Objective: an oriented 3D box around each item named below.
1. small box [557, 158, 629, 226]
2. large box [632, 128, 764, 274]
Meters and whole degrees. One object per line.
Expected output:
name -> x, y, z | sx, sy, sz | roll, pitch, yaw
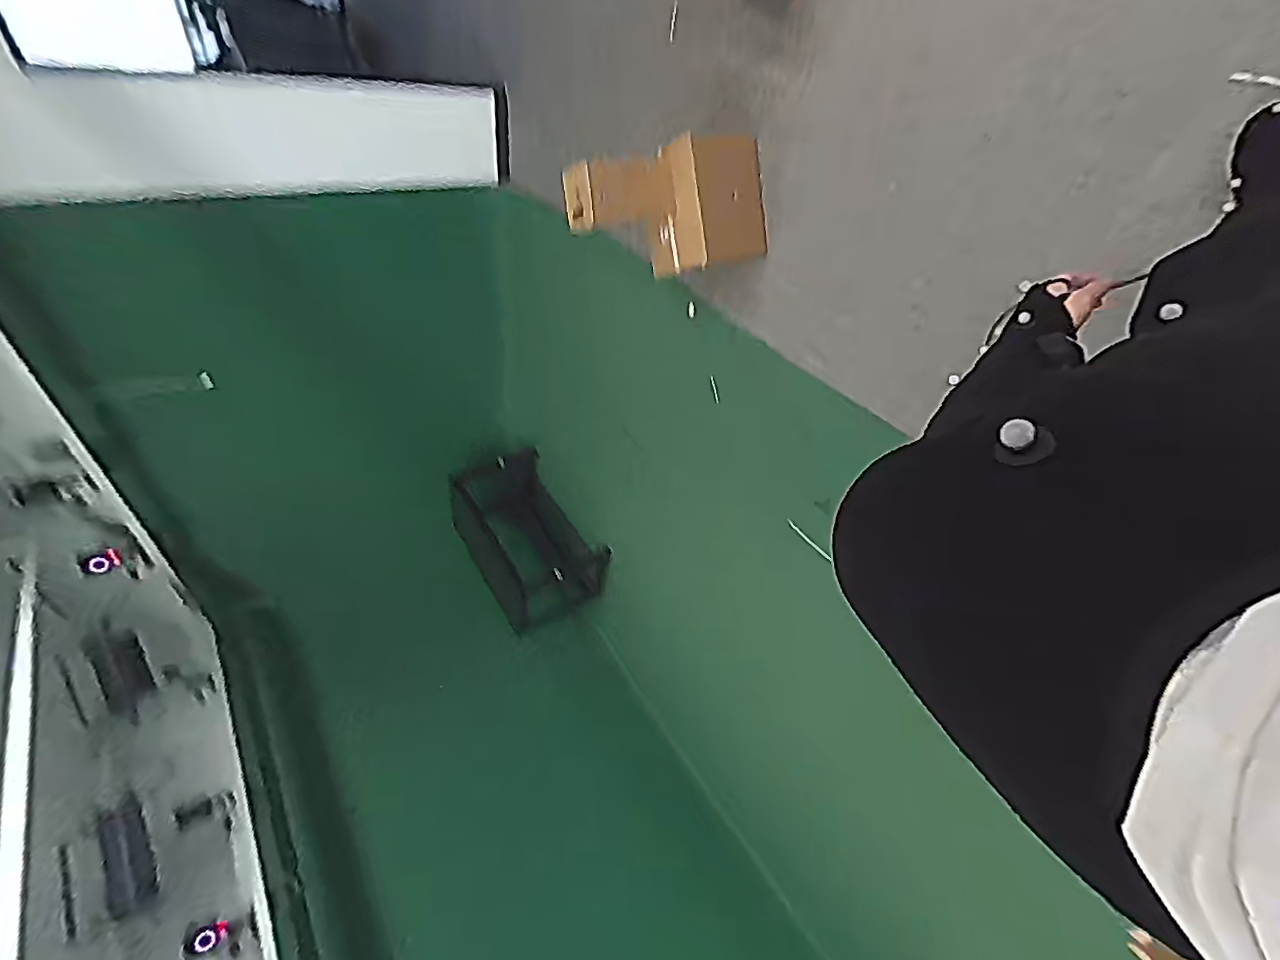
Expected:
small box -> -0.150, -0.954, 1.792 | 0.168, 0.176, 0.179 | 22, 126, 50
large box -> 0.217, -1.011, 1.985 | 0.320, 0.320, 0.408 | 13, 120, 55
